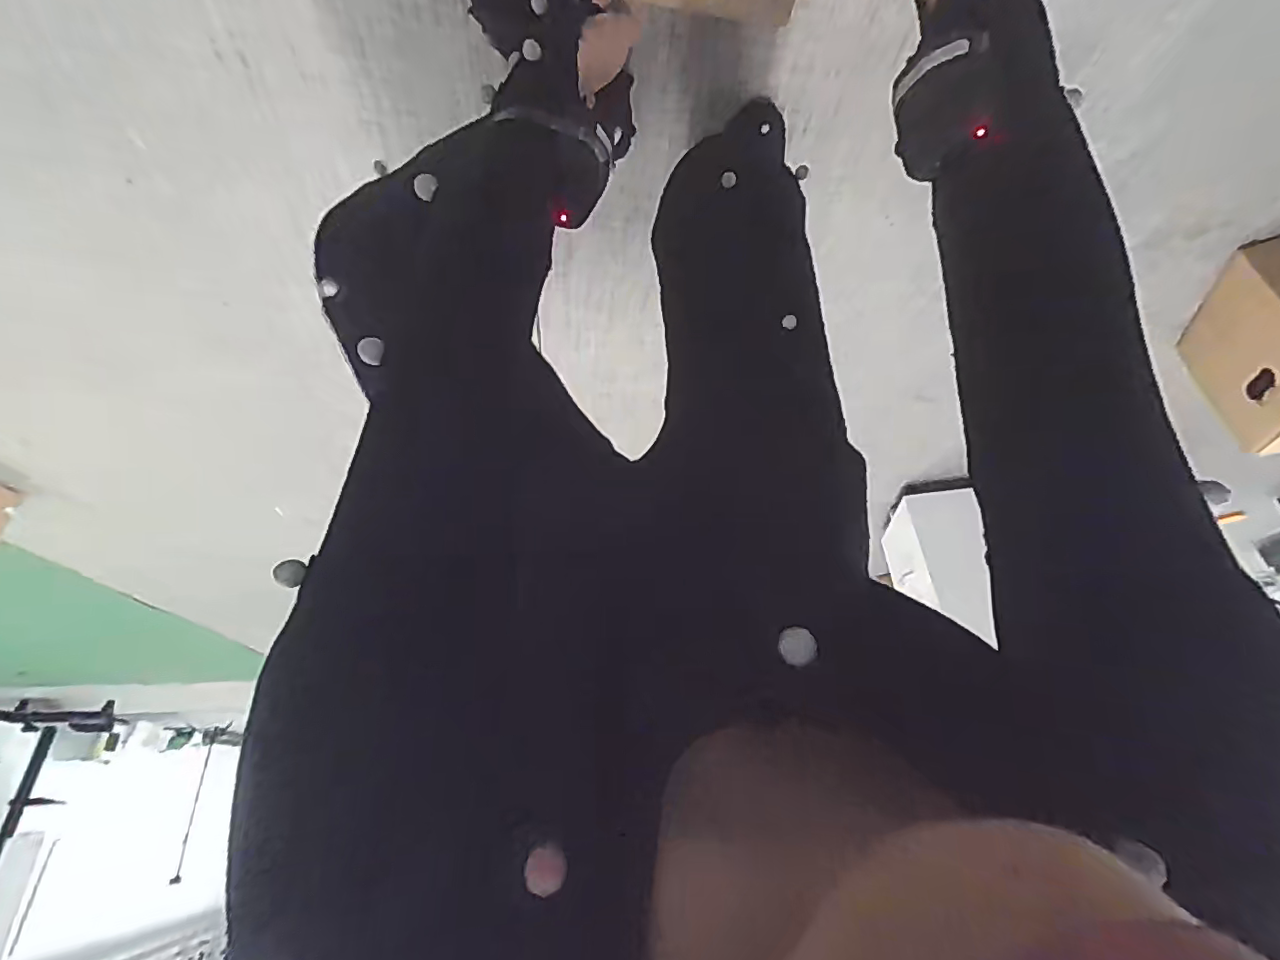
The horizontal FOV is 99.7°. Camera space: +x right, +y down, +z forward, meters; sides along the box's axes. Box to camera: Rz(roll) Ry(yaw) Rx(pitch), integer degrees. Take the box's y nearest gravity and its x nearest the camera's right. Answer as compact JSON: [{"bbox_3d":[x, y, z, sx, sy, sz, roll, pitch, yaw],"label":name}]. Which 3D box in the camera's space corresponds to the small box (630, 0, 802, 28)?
[{"bbox_3d":[0.083,-0.586,0.525,0.179,0.176,0.168,2,150,-8],"label":"small box"}]
